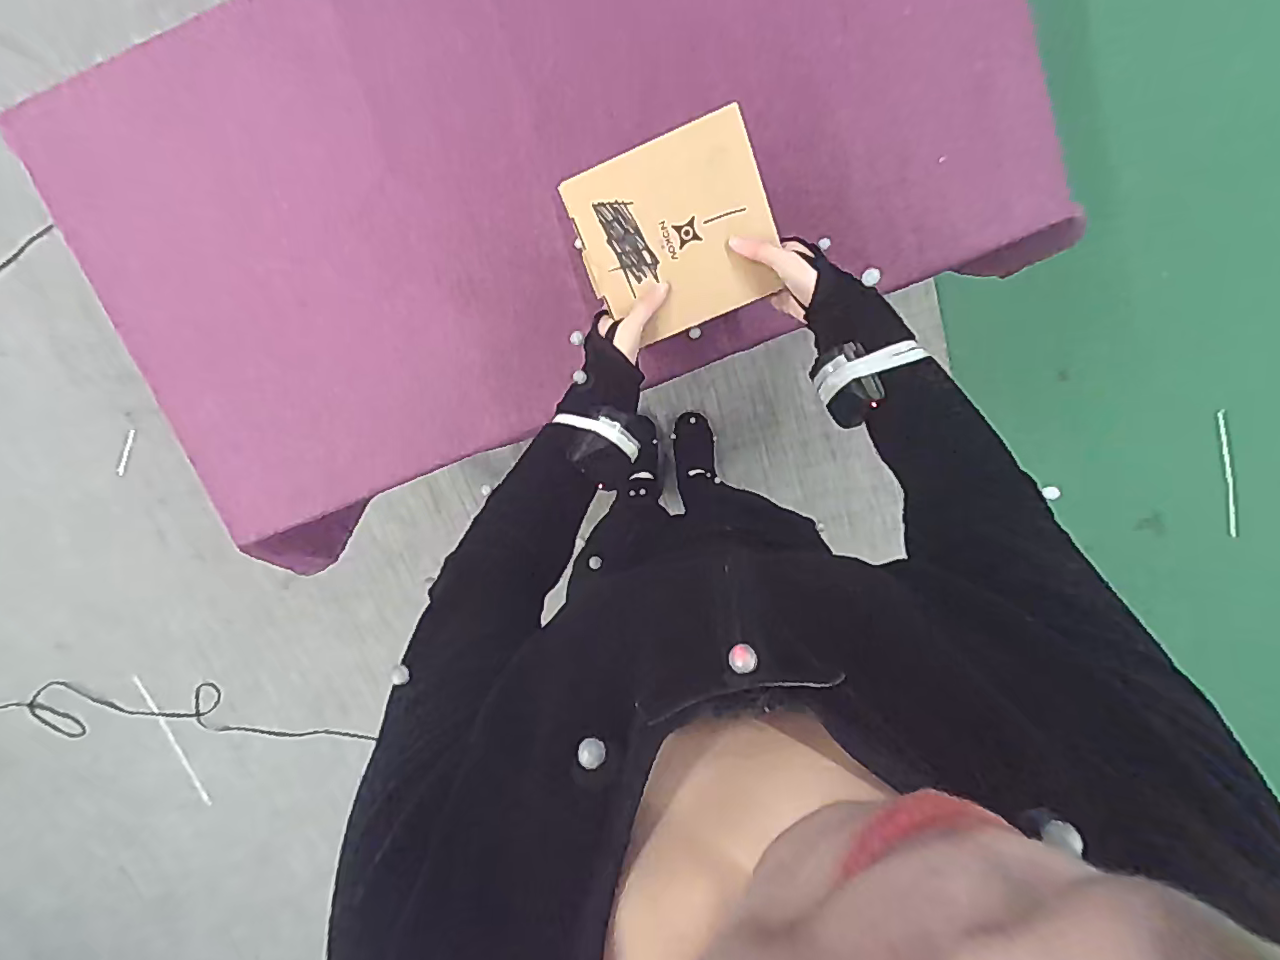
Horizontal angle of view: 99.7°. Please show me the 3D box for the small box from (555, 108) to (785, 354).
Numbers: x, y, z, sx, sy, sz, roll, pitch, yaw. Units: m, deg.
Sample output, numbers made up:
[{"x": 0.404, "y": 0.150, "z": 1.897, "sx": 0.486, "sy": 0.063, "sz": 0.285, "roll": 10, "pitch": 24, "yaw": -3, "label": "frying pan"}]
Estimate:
[{"x": 0.032, "y": -0.247, "z": 0.577, "sx": 0.179, "sy": 0.176, "sz": 0.168, "roll": -21, "pitch": 107, "yaw": 7, "label": "small box"}]
